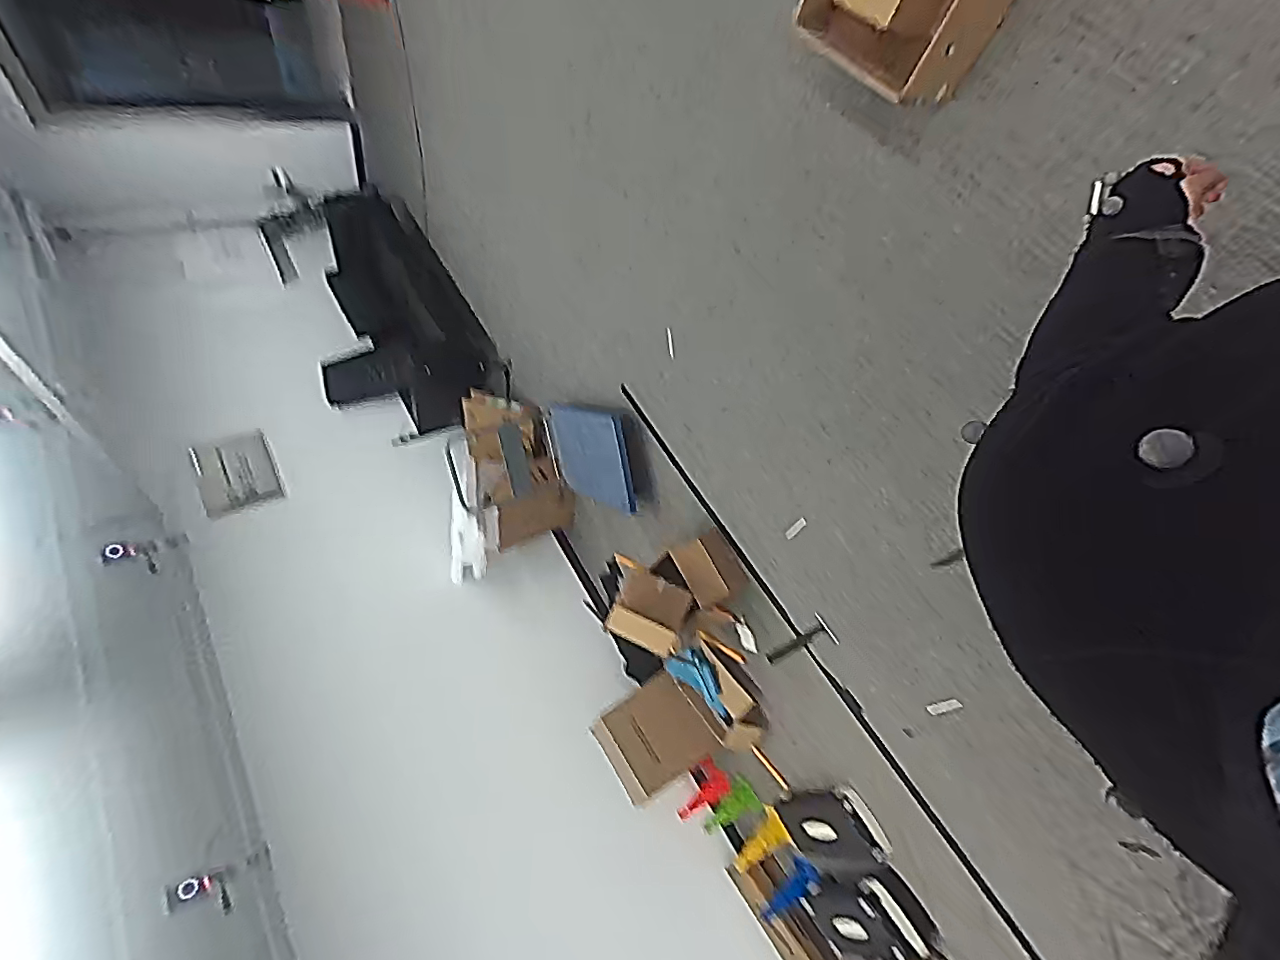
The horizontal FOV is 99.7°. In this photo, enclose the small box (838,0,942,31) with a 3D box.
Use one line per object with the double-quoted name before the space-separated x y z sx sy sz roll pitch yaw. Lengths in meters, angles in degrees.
"small box" 0.571 -1.110 1.176 0.179 0.176 0.168 54 147 24
